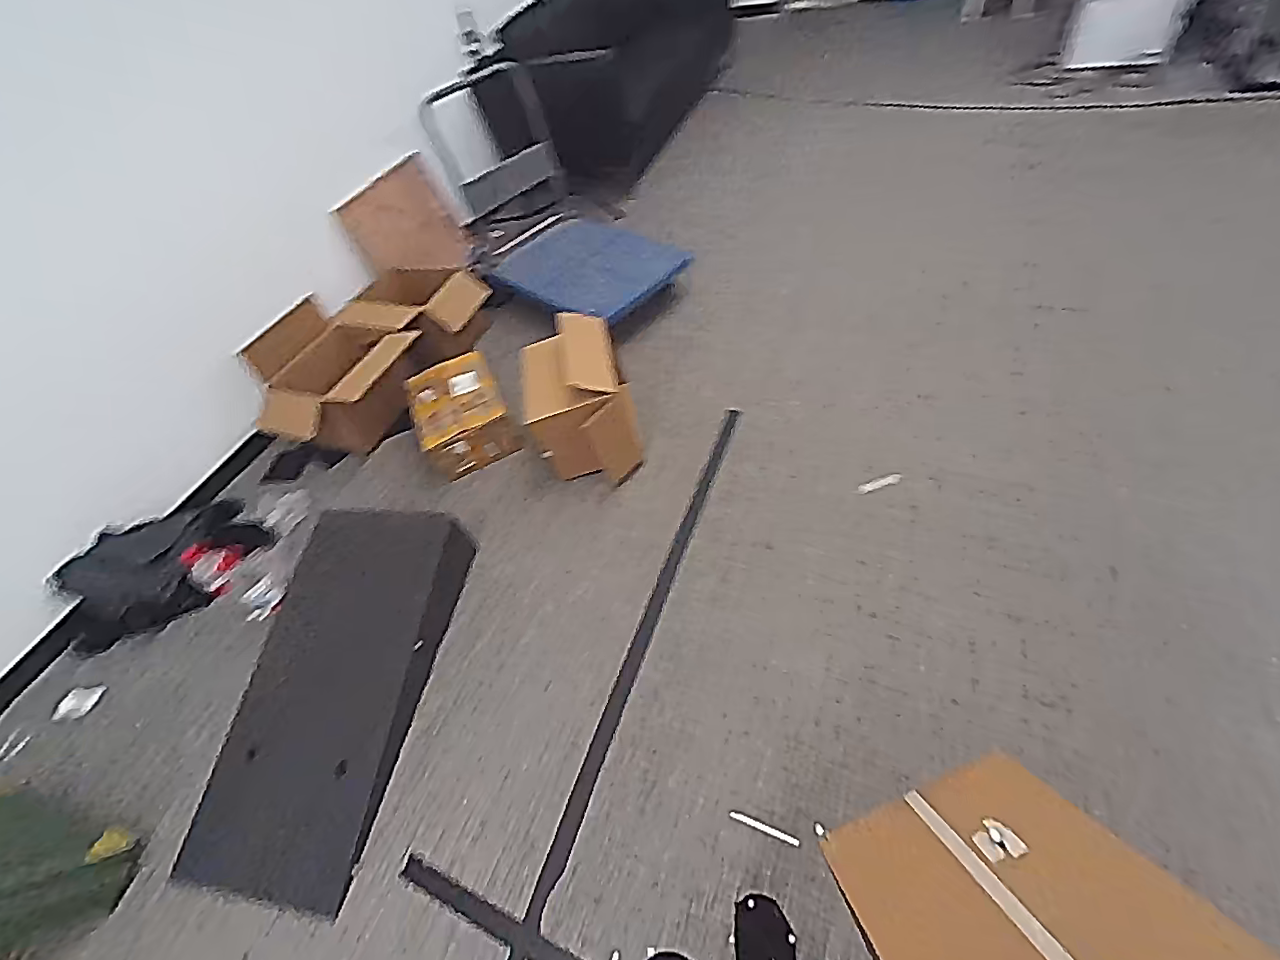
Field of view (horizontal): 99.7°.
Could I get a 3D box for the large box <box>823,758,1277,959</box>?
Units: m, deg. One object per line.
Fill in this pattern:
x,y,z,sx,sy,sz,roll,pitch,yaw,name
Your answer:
0.485,0.626,0.630,0.320,0.408,0.320,-23,93,-2,large box
